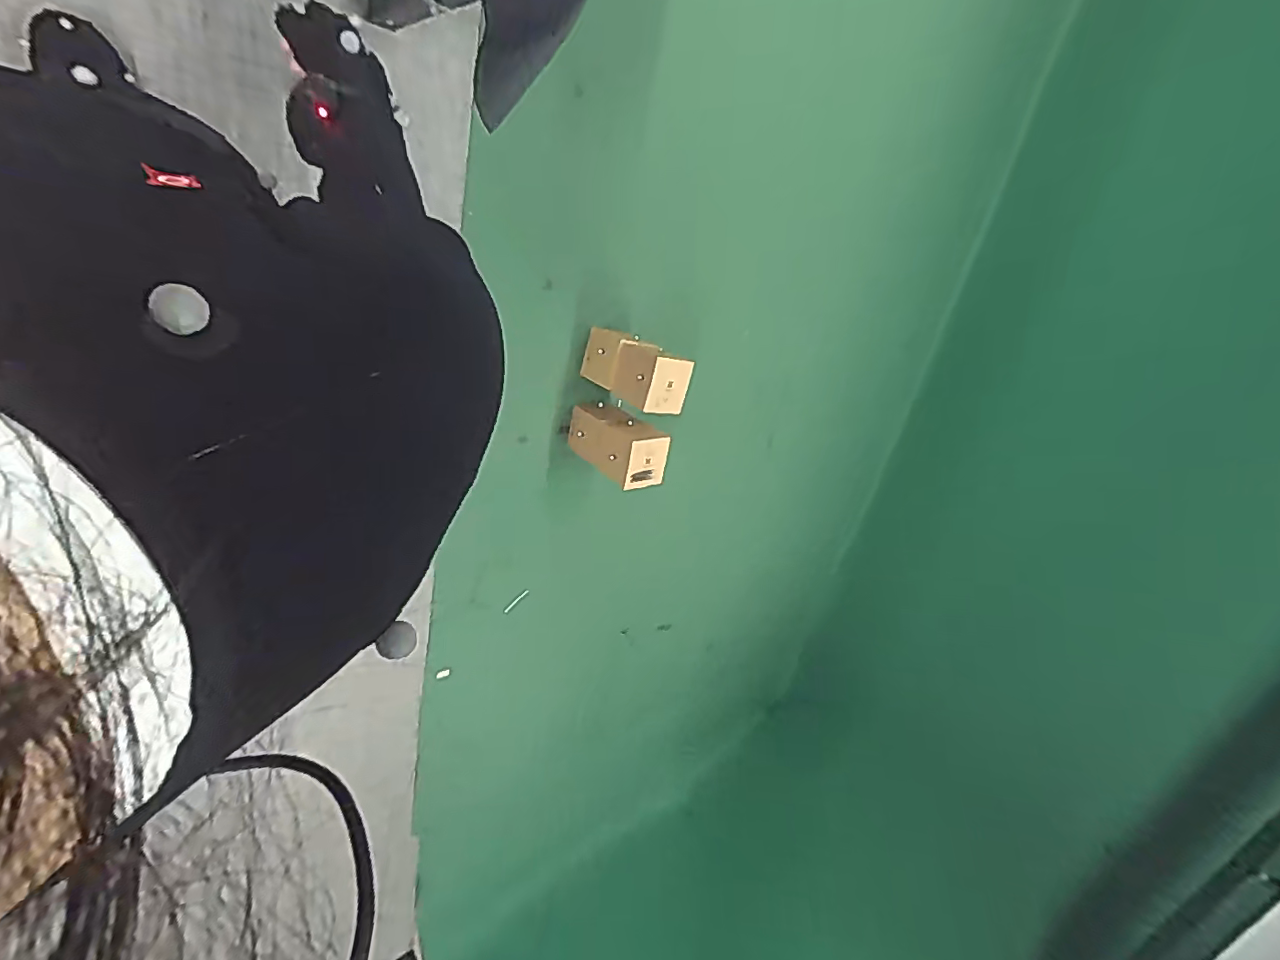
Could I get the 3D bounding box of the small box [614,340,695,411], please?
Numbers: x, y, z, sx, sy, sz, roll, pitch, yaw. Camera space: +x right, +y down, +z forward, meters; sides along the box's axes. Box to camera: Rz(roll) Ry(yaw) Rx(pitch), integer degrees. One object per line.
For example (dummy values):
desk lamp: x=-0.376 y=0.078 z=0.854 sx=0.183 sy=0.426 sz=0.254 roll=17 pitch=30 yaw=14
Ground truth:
small box: x=0.040 y=-0.332 z=1.708 sx=0.168 sy=0.176 sz=0.179 roll=-3 pitch=117 yaw=-43

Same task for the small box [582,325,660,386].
small box: x=-0.069 y=-0.410 z=1.805 sx=0.179 sy=0.176 sz=0.168 roll=-2 pitch=117 yaw=-44
